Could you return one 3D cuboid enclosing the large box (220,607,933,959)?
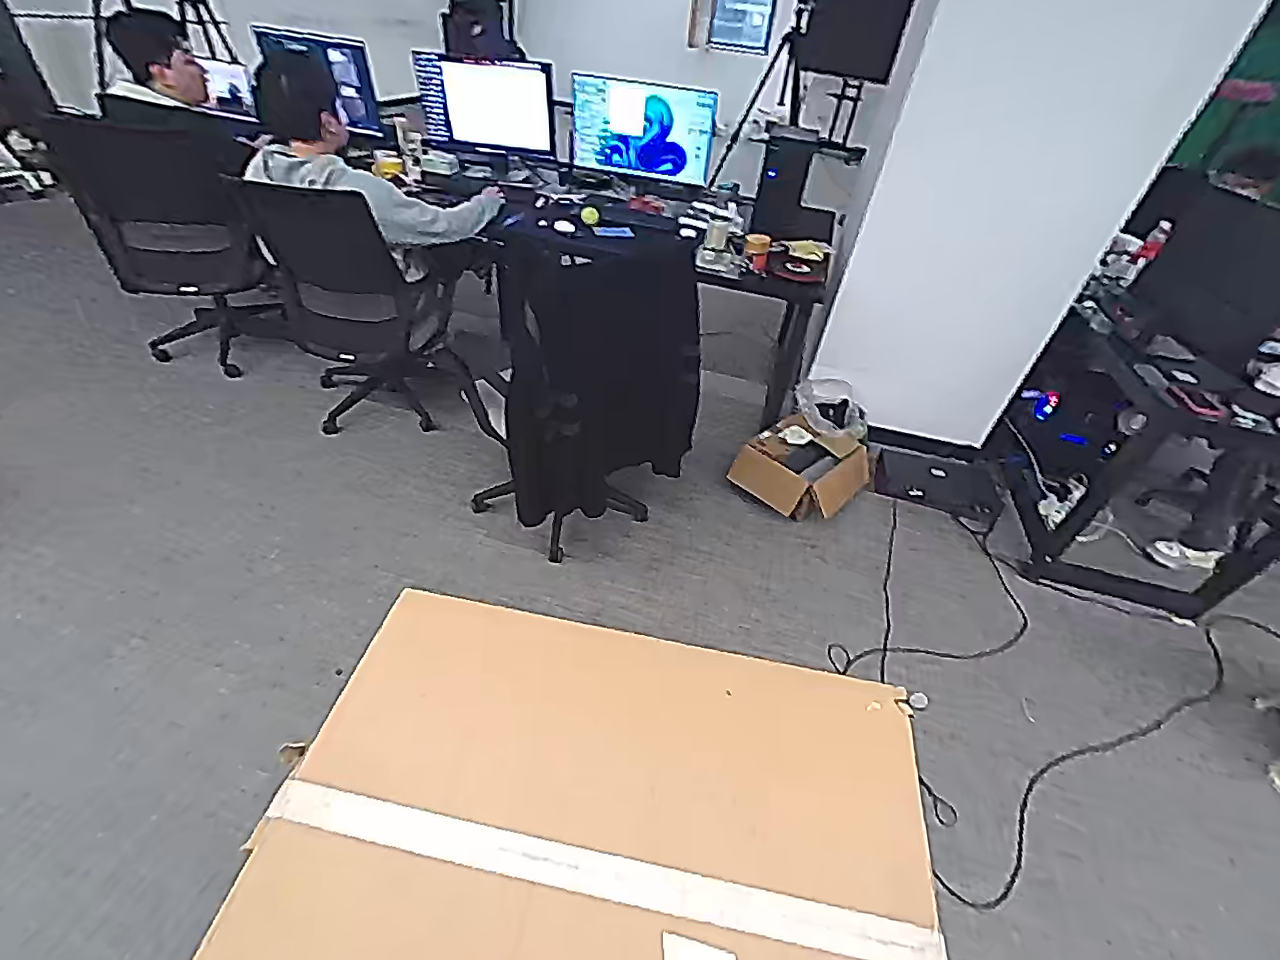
[{"bbox_3d":[-0.034,0.344,0.440,0.408,0.320,0.320,10,48,4],"label":"large box"}]
